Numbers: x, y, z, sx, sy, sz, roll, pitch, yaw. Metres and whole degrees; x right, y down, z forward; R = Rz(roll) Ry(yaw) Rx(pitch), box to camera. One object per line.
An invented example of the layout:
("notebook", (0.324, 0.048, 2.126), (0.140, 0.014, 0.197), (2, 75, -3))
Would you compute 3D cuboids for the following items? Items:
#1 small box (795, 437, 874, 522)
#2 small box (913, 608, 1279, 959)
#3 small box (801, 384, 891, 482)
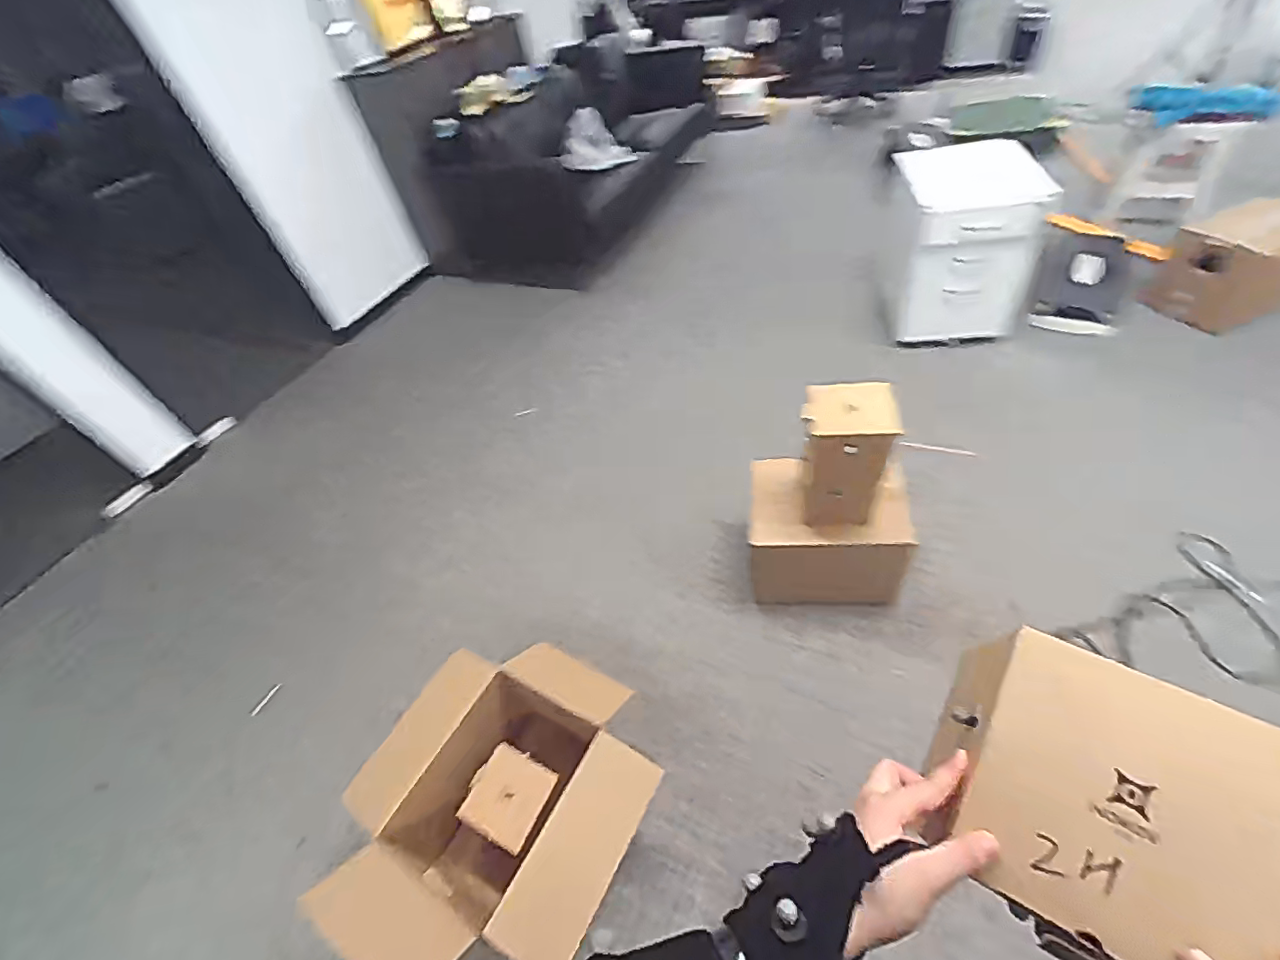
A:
("small box", (0.499, -0.001, 1.409), (0.179, 0.176, 0.168), (-2, 49, 13))
("small box", (0.335, 0.228, 0.426), (0.168, 0.176, 0.179), (22, 75, 26))
("small box", (0.481, -0.108, 1.288), (0.179, 0.176, 0.168), (-2, 49, 13))
